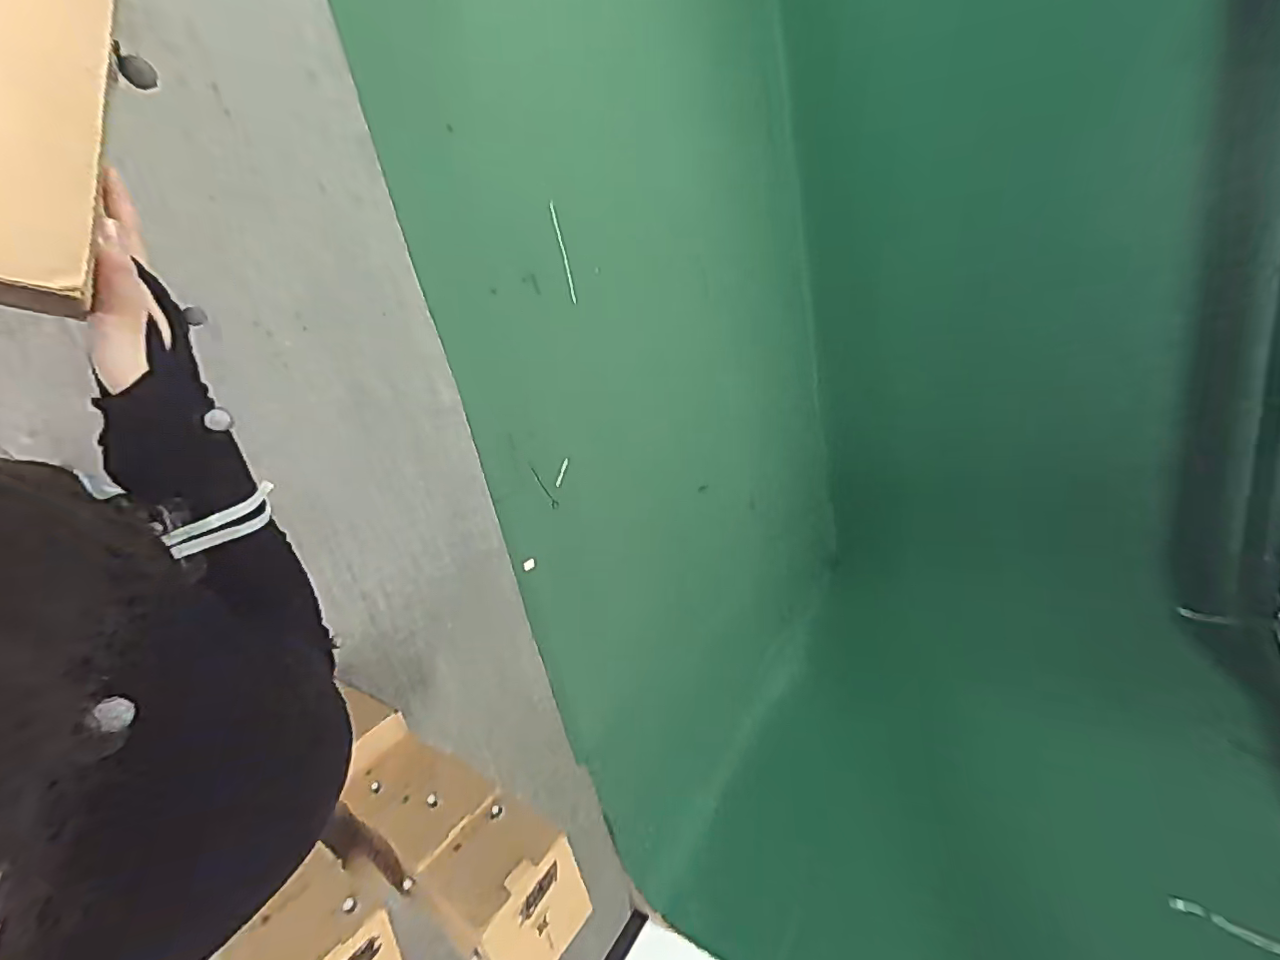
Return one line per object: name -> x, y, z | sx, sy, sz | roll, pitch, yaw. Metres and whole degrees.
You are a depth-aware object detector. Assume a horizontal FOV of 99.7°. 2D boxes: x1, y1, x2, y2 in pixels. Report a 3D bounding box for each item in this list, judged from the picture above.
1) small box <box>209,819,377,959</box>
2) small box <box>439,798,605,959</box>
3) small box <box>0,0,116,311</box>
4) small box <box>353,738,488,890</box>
small box -> -0.576, 0.718, 0.901 | 0.168, 0.176, 0.179 | -25, 109, -50
small box -> -0.188, 0.647, 0.861 | 0.168, 0.176, 0.179 | -32, 116, -44
small box -> -0.364, -0.191, 0.249 | 0.168, 0.176, 0.179 | 5, 95, -45
small box -> -0.437, 0.645, 1.075 | 0.168, 0.176, 0.179 | -30, 113, -45
